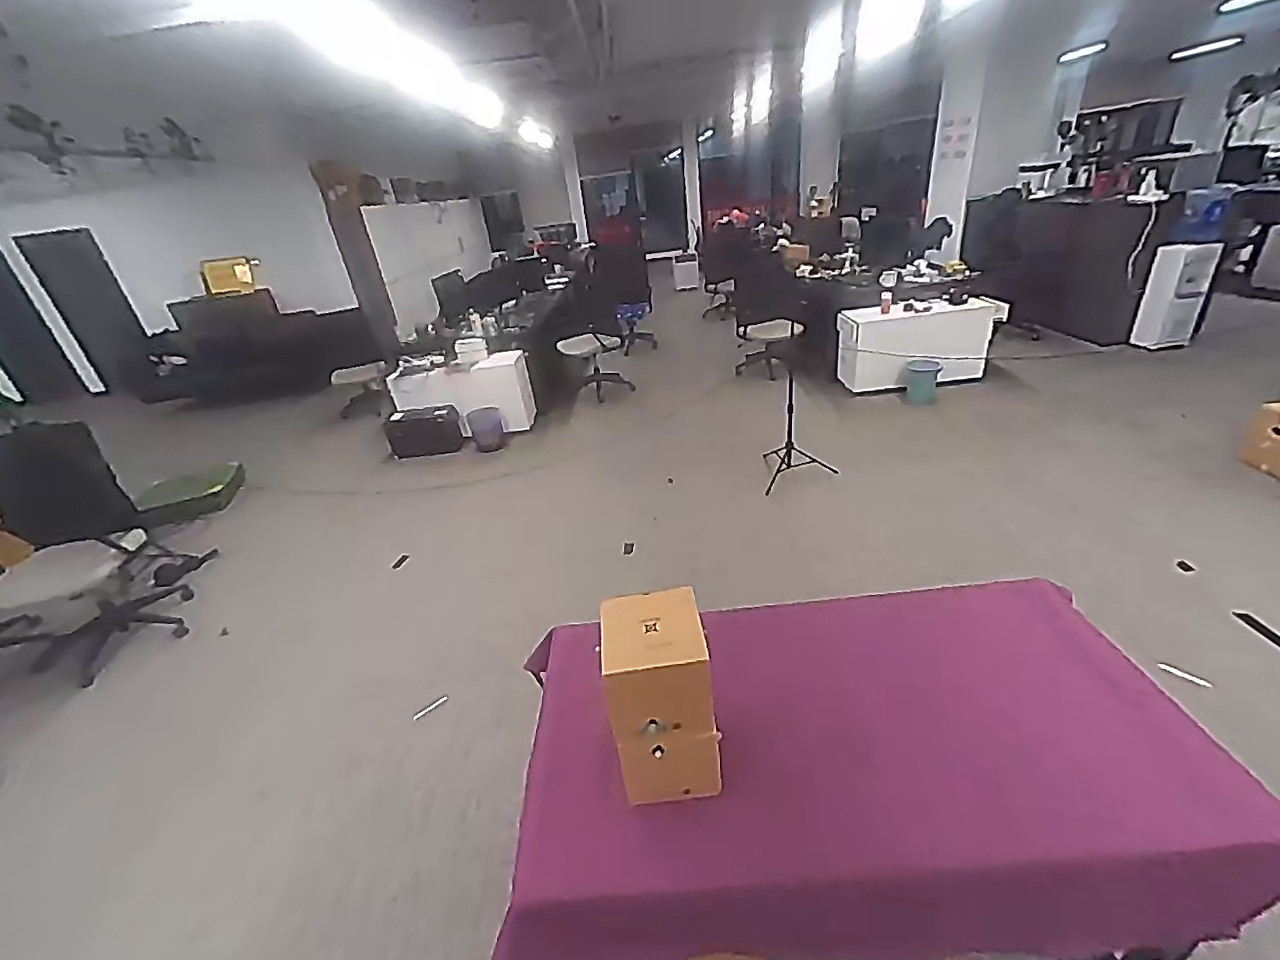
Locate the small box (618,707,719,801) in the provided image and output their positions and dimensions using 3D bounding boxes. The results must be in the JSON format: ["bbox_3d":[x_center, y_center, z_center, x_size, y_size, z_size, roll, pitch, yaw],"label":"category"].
[{"bbox_3d":[0.051,0.452,0.994,0.168,0.176,0.179,-7,28,1],"label":"small box"}]

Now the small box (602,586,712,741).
[{"bbox_3d":[0.027,0.308,0.919,0.168,0.176,0.179,-7,28,0],"label":"small box"}]
